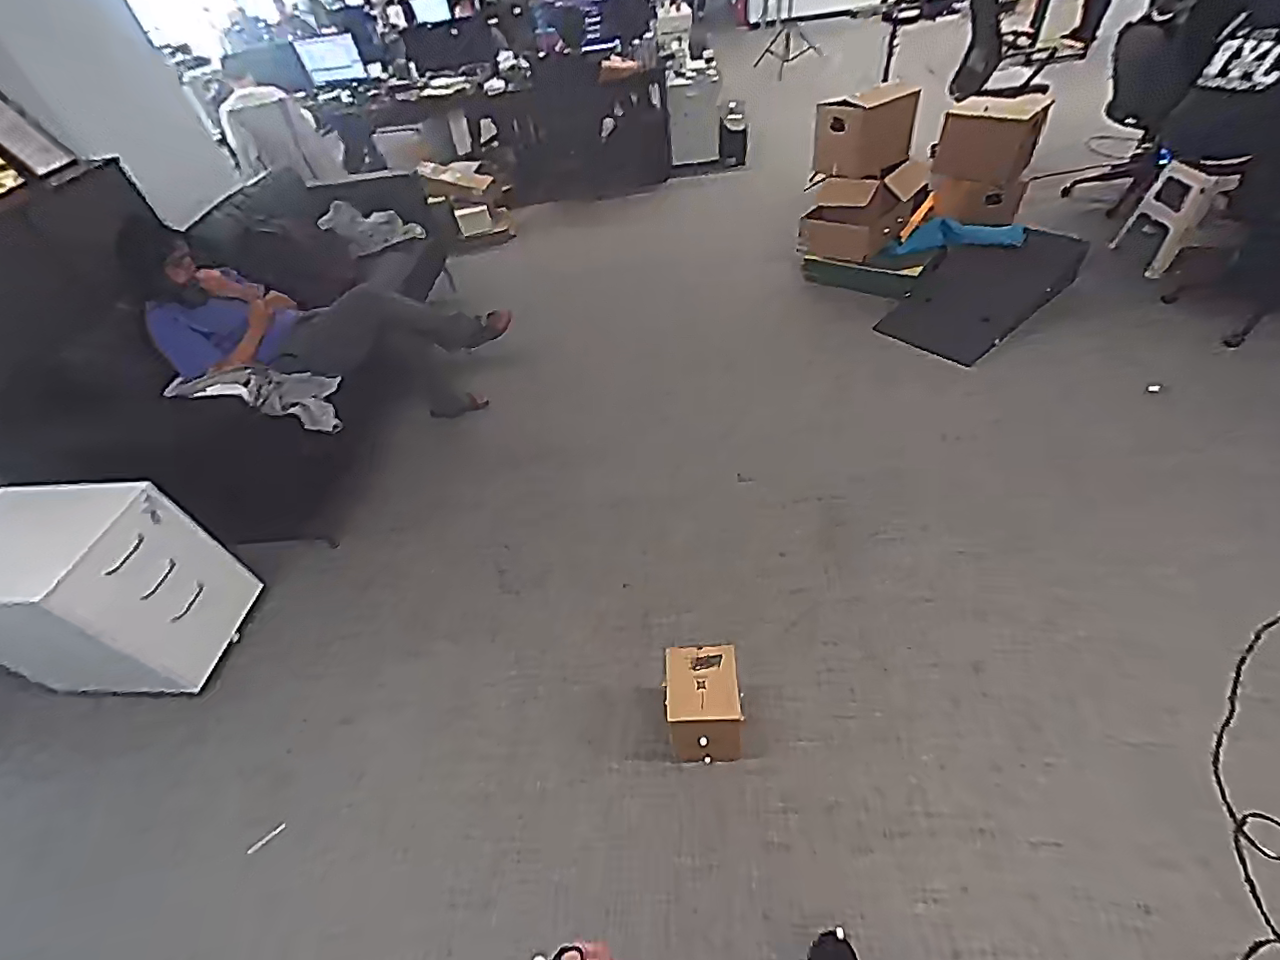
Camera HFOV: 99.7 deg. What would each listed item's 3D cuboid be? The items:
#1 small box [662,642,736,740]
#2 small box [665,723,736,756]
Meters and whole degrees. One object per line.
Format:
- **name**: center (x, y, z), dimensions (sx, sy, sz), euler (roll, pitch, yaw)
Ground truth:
- **small box**: center (0.142, 0.515, 1.318), dimensions (0.168, 0.176, 0.179), euler (-4, 47, 6)
- **small box**: center (0.160, 0.624, 1.442), dimensions (0.179, 0.176, 0.168), euler (-3, 46, 6)
